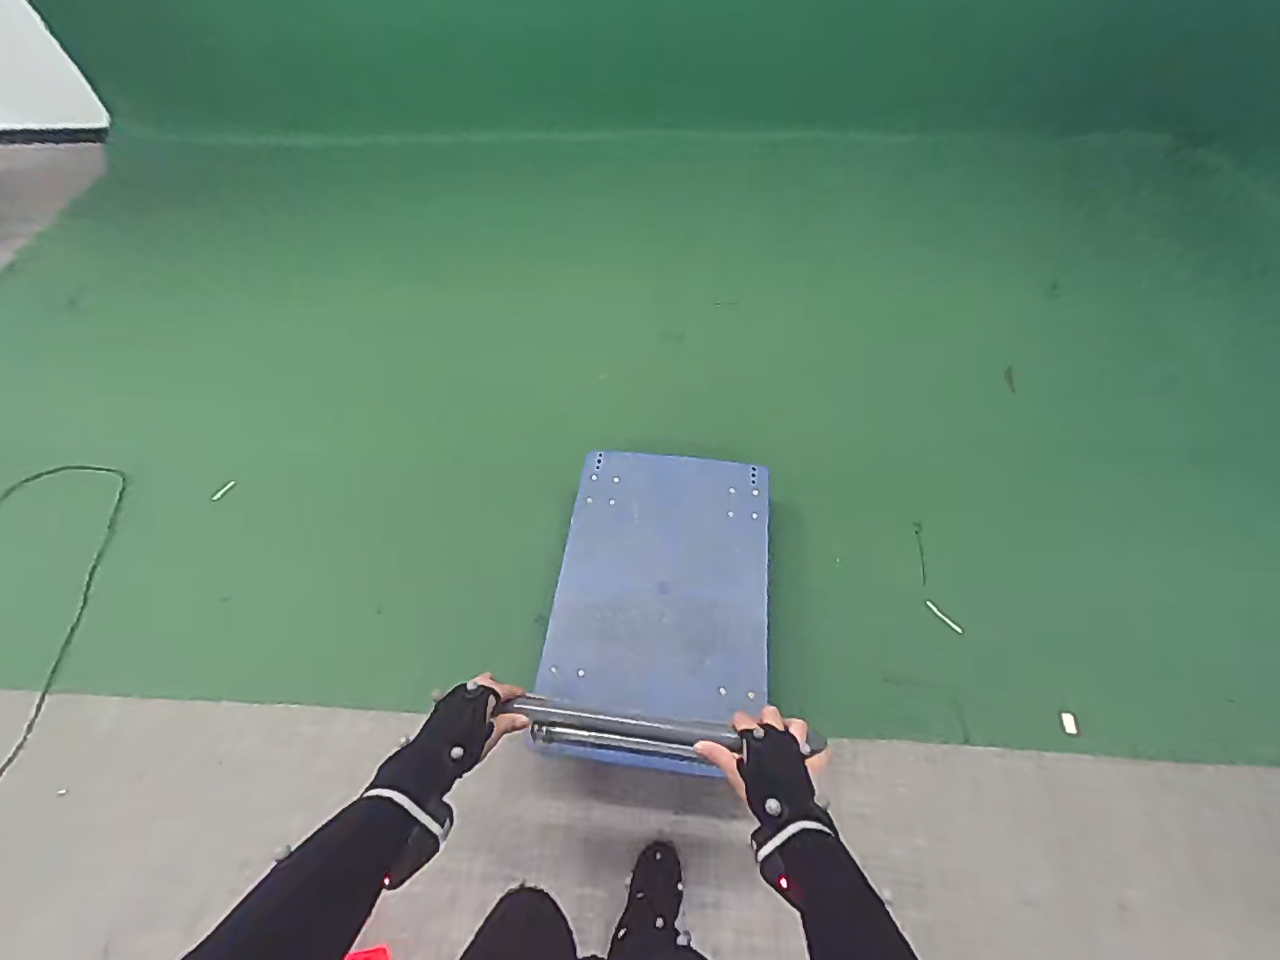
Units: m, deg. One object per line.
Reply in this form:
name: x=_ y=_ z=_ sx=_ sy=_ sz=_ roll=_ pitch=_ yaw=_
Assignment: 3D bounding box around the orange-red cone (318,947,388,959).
orange-red cone: x=-0.655 y=1.052 z=1.015 sx=0.199 sy=0.360 sz=0.198 roll=-11 pitch=58 yaw=-3
